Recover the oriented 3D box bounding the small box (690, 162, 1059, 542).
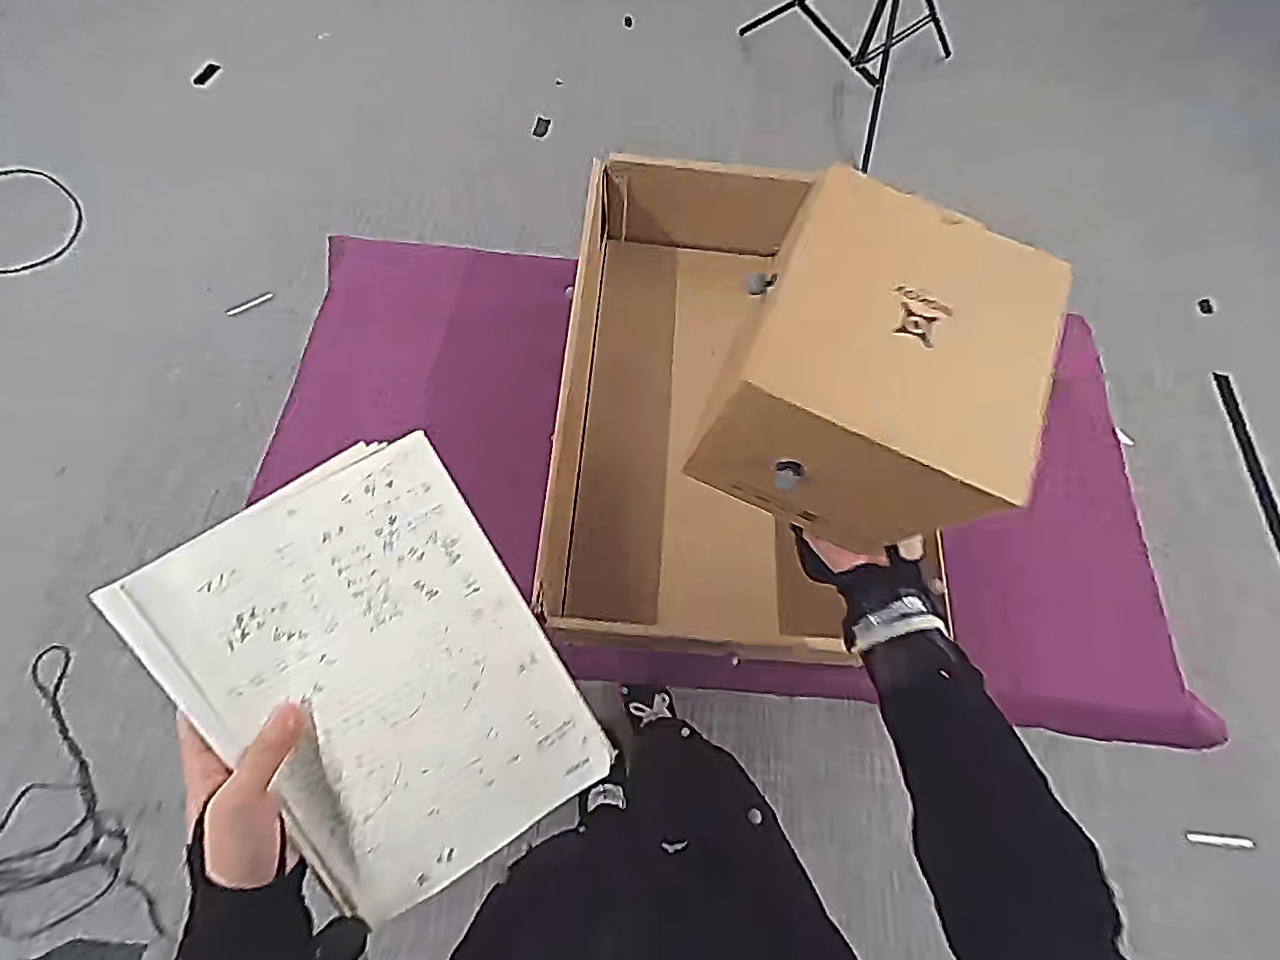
[{"bbox_3d":[0.146,-0.072,0.390,0.168,0.176,0.179,23,71,1],"label":"small box"}]
